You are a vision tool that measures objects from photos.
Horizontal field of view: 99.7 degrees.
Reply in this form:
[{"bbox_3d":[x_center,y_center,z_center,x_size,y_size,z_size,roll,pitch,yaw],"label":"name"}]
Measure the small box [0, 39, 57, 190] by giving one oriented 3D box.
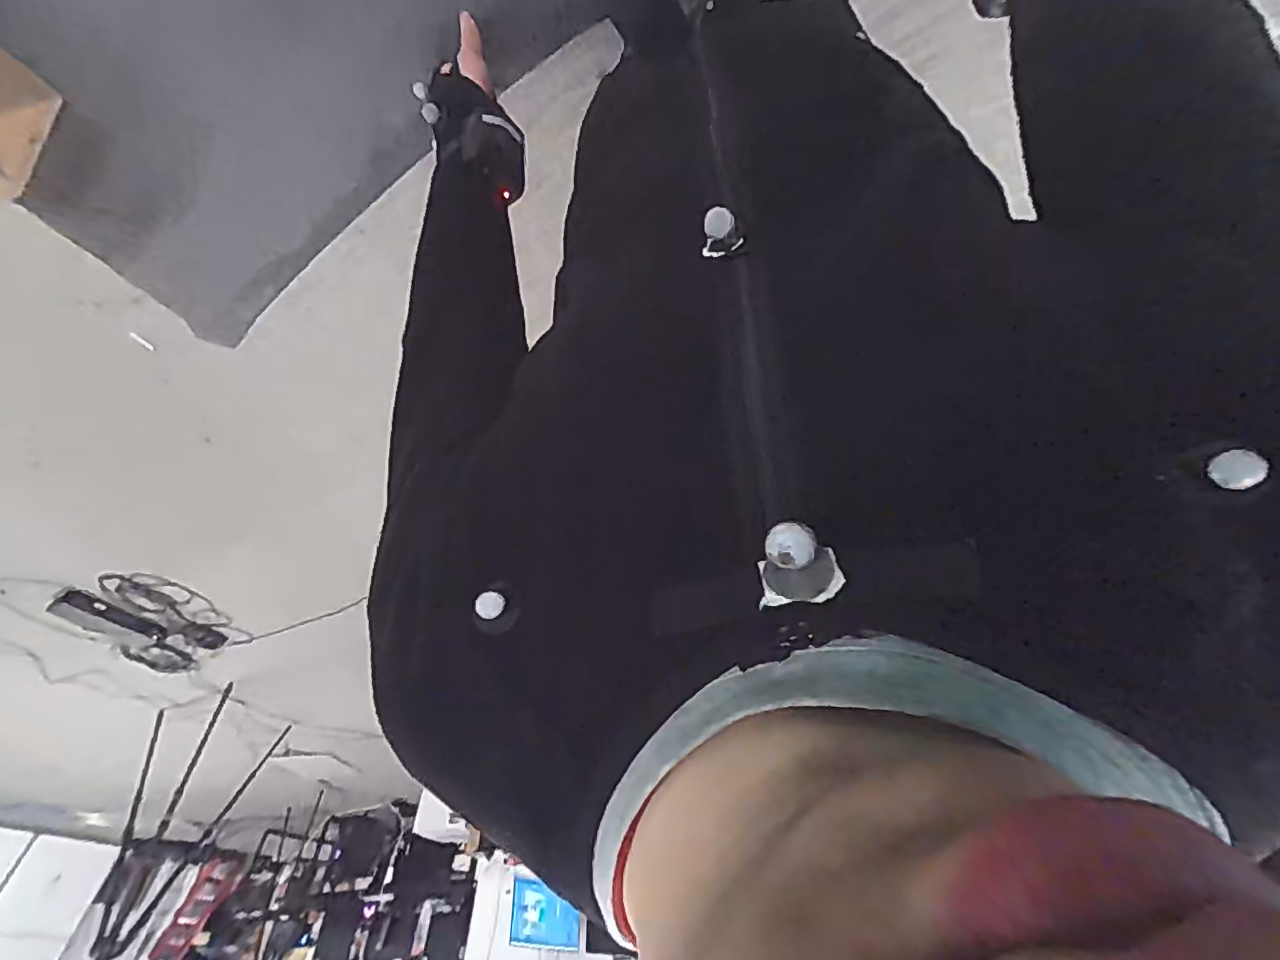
[{"bbox_3d":[-0.733,-0.376,0.514,0.168,0.176,0.179,-28,130,27],"label":"small box"}]
